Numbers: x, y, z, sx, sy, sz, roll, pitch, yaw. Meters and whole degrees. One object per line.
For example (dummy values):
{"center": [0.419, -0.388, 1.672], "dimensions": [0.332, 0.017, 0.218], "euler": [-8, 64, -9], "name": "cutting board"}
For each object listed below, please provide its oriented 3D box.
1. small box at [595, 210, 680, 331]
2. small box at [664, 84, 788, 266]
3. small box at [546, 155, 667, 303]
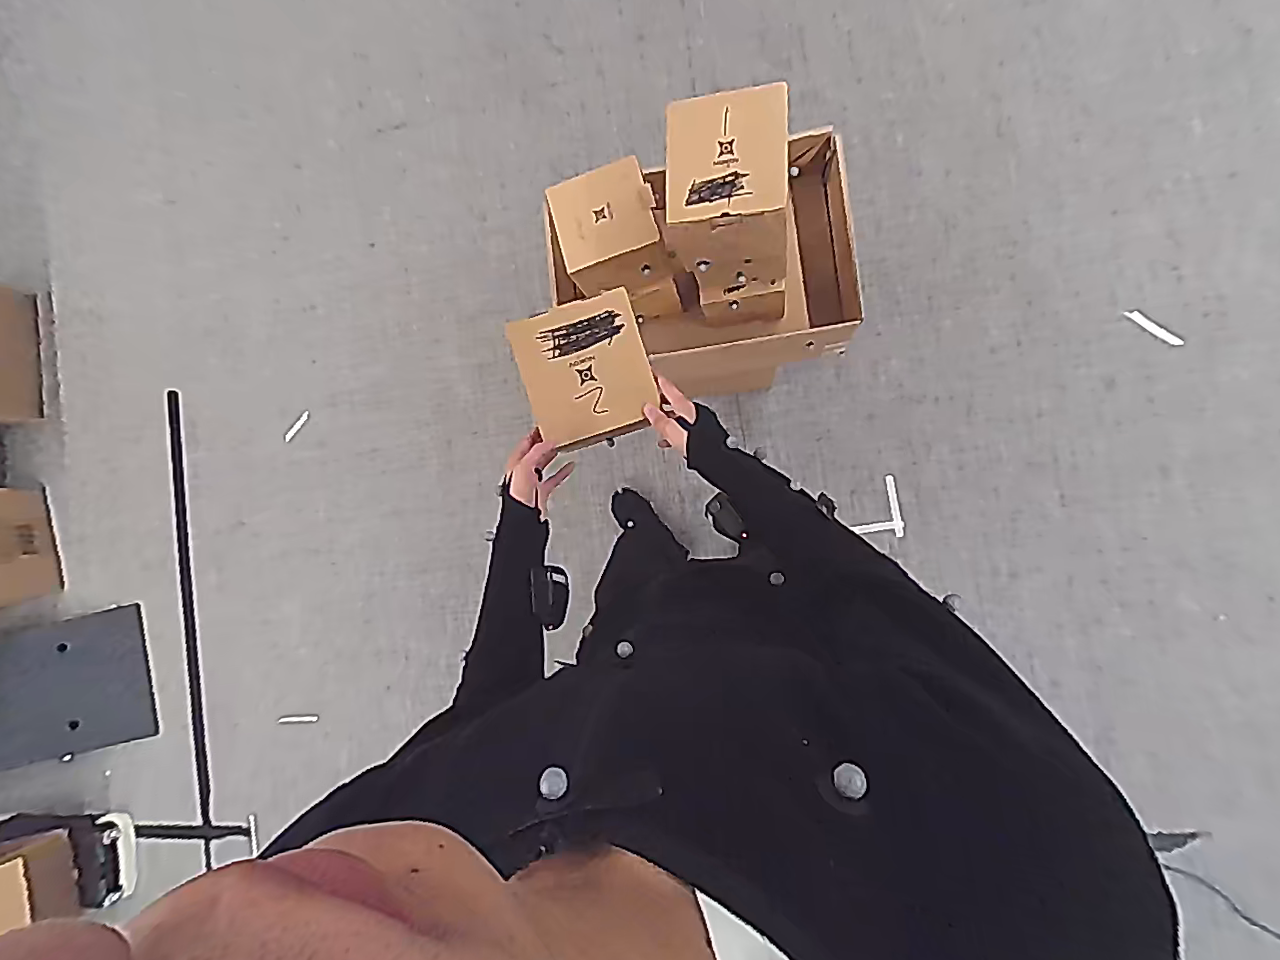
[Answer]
{"center": [-0.018, -0.448, 1.172], "dimensions": [0.168, 0.176, 0.179], "euler": [-15, 86, 10], "name": "small box"}
{"center": [0.134, -0.435, 0.807], "dimensions": [0.168, 0.176, 0.179], "euler": [0, 88, 14], "name": "small box"}
{"center": [-0.052, -0.457, 1.013], "dimensions": [0.179, 0.176, 0.168], "euler": [-16, 85, 9], "name": "small box"}
